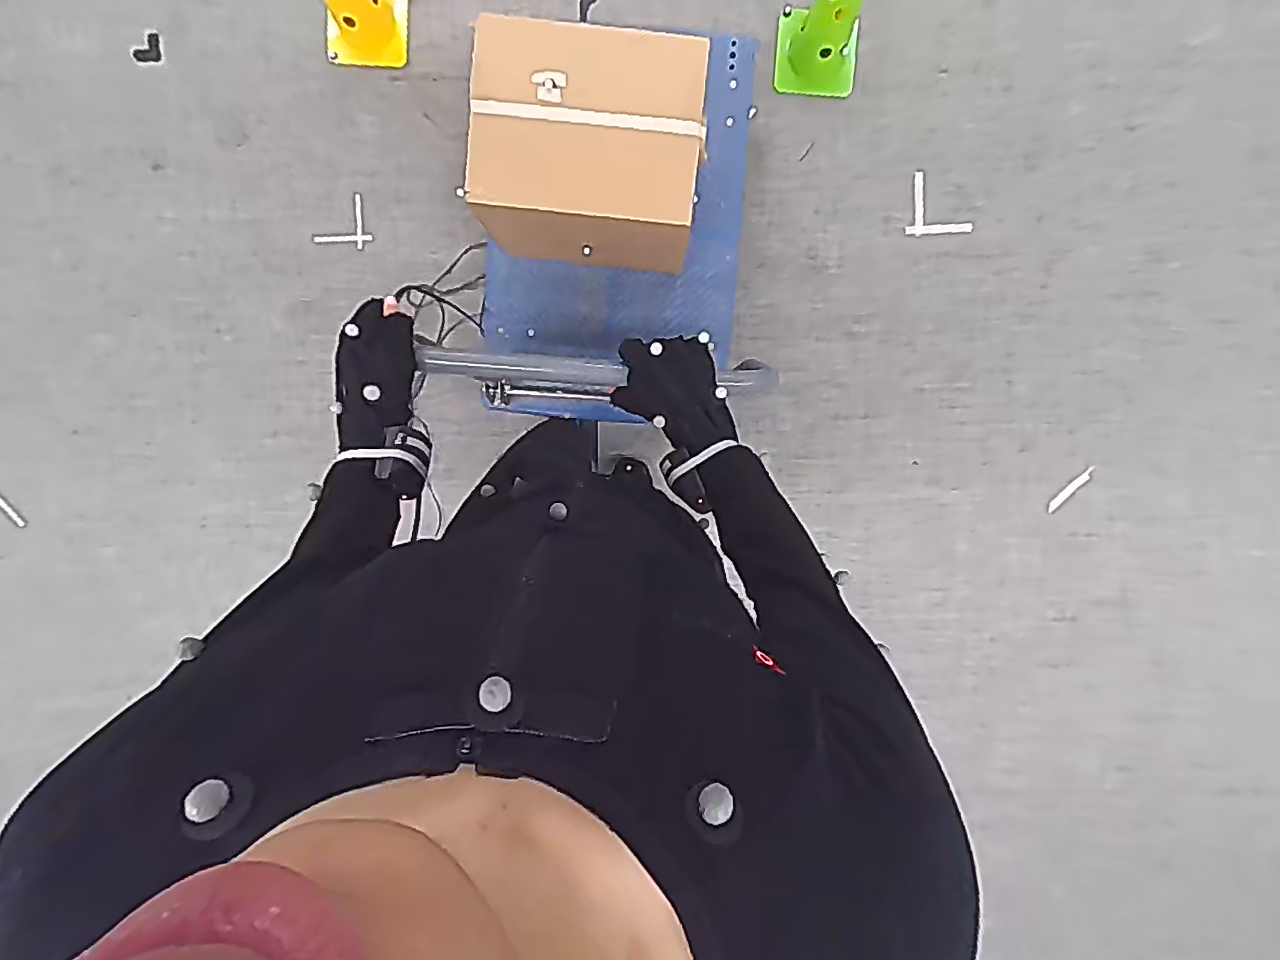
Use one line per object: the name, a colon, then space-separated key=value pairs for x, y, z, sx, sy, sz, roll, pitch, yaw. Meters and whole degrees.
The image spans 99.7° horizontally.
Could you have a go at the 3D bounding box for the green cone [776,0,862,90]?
green cone: x=0.449 y=-1.077 z=1.192 sx=0.202 sy=0.368 sz=0.200 roll=4 pitch=95 yaw=-1

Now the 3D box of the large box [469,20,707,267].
large box: x=-0.089 y=-0.640 z=1.091 sx=0.408 sy=0.320 sz=0.320 roll=6 pitch=95 yaw=1
